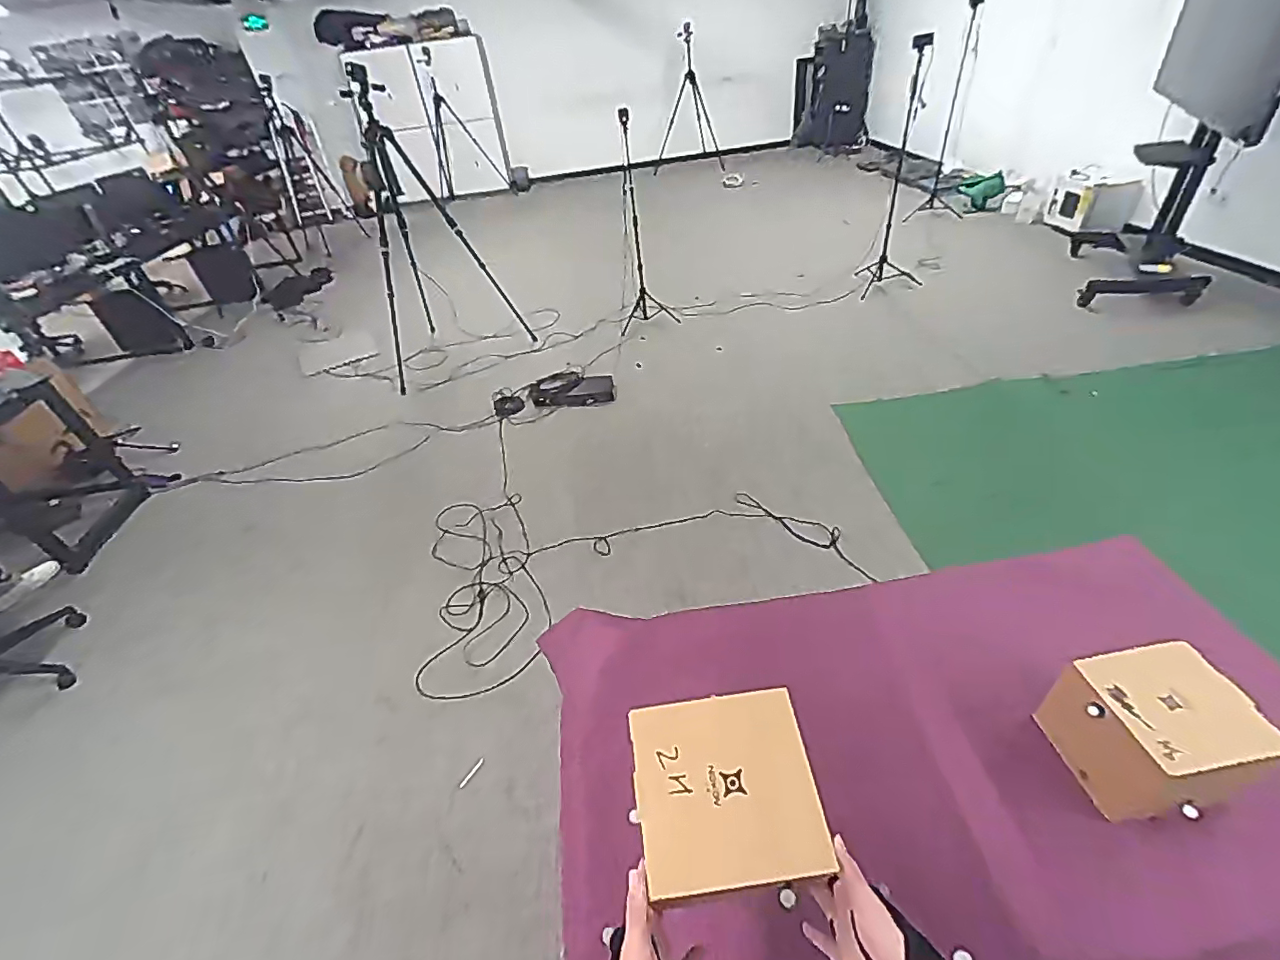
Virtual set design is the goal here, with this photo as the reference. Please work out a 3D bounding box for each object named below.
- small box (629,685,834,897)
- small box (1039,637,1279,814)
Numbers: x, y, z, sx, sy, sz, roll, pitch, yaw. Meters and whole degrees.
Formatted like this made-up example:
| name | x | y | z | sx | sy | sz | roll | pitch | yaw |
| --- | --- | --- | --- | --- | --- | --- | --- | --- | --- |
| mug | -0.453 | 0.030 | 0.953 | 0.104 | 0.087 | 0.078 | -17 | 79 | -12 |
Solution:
| name | x | y | z | sx | sy | sz | roll | pitch | yaw |
| --- | --- | --- | --- | --- | --- | --- | --- | --- | --- |
| small box | 0.087 | 0.345 | 0.596 | 0.179 | 0.176 | 0.168 | -8 | 50 | 0 |
| small box | 0.736 | 0.356 | 0.784 | 0.179 | 0.176 | 0.168 | -10 | 39 | -1 |
